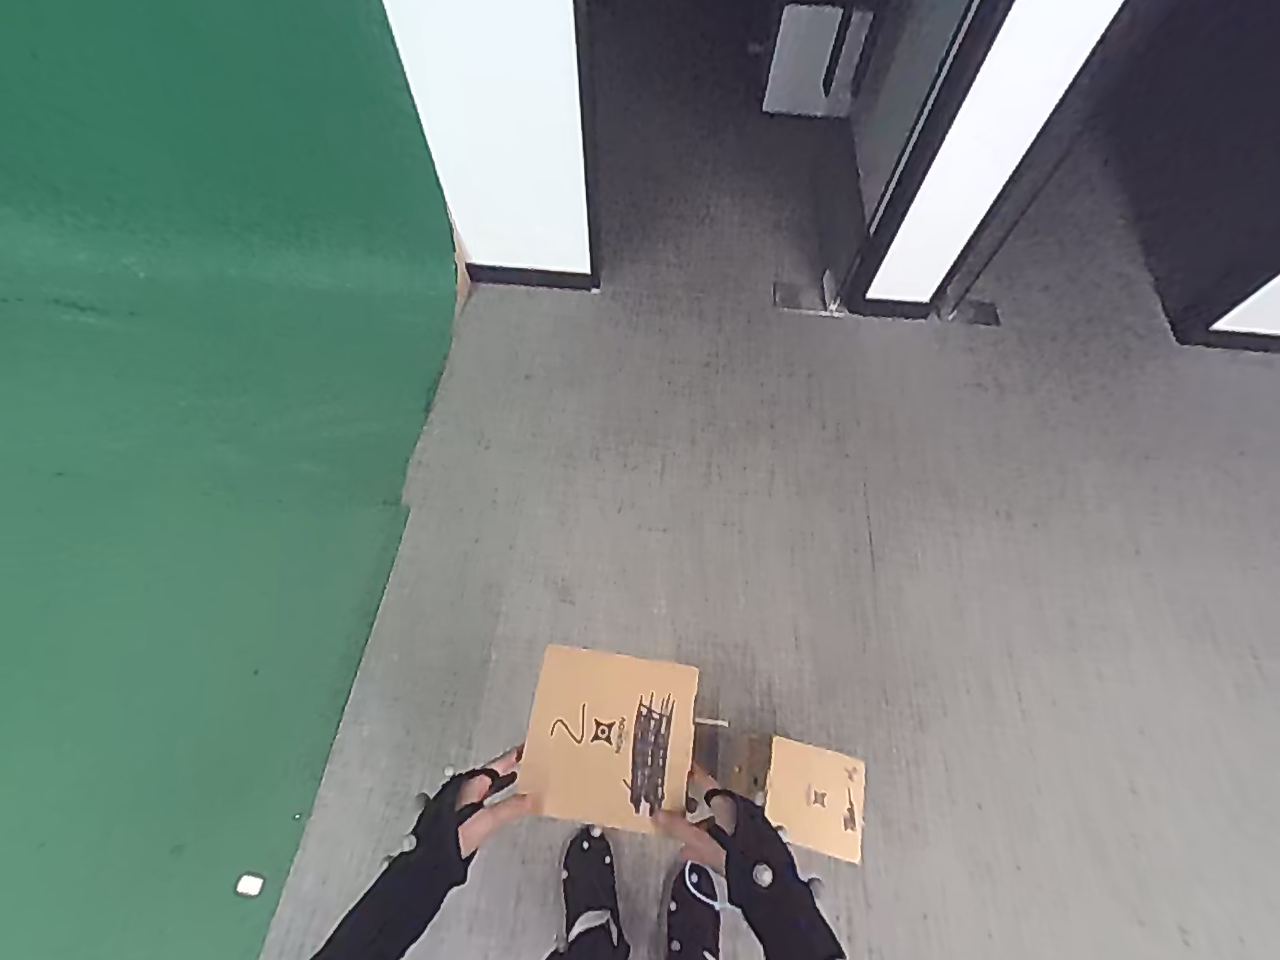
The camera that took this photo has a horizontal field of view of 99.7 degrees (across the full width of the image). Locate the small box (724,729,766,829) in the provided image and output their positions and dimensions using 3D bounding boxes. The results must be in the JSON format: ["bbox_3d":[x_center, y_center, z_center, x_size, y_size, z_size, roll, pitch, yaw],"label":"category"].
[{"bbox_3d":[0.289,0.666,1.190,0.168,0.176,0.179,14,63,6],"label":"small box"}]

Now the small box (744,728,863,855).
[{"bbox_3d":[0.308,0.595,1.042,0.179,0.176,0.168,13,63,6],"label":"small box"}]
